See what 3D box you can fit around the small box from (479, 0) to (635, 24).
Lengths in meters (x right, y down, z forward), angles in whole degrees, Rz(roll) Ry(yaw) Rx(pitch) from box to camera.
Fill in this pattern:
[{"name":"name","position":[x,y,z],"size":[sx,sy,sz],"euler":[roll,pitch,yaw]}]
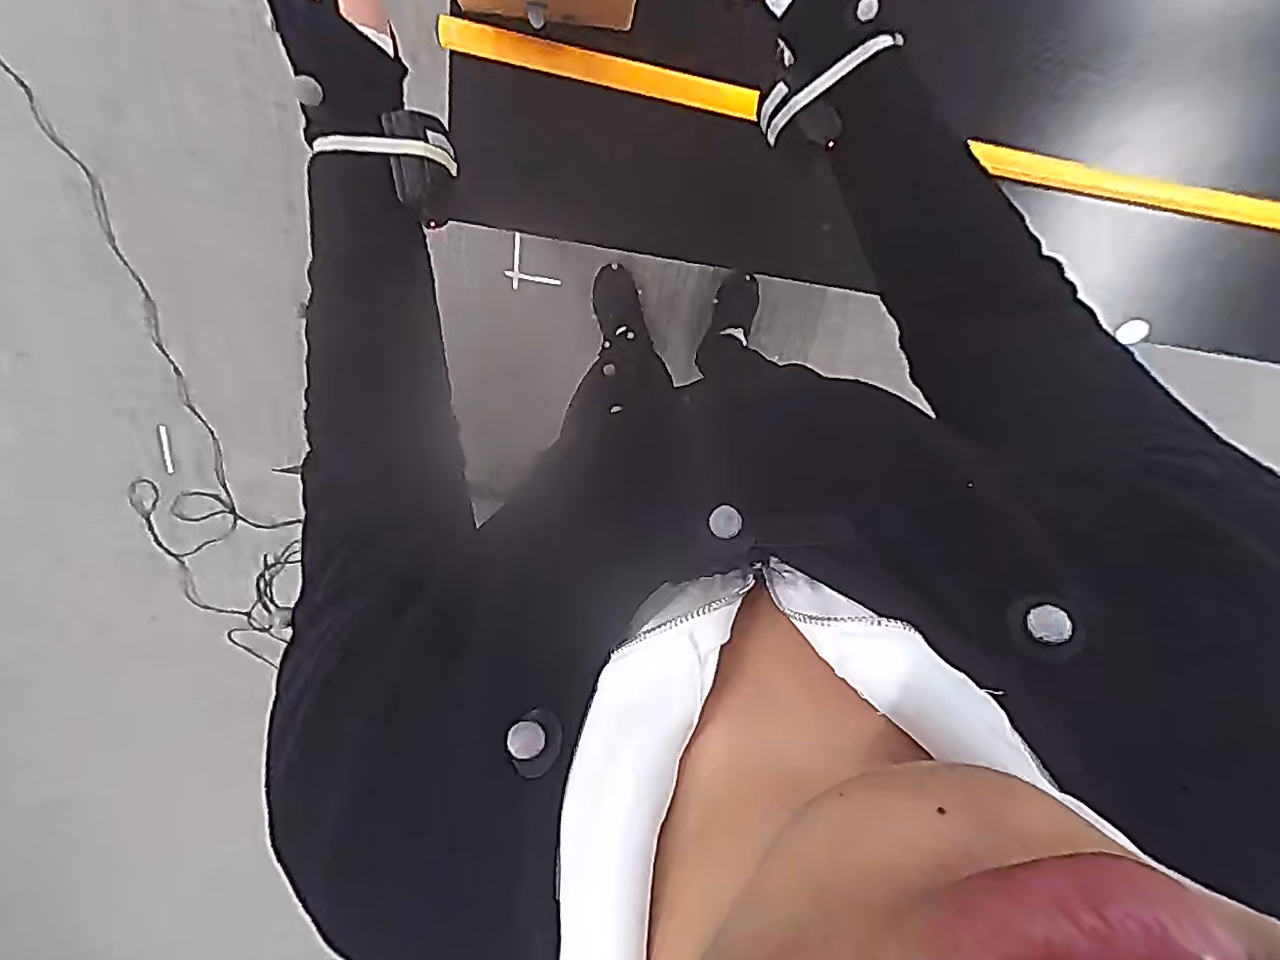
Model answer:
[{"name":"small box","position":[-0.076,-0.506,0.429],"size":[0.168,0.176,0.179],"euler":[2,116,-6]}]
